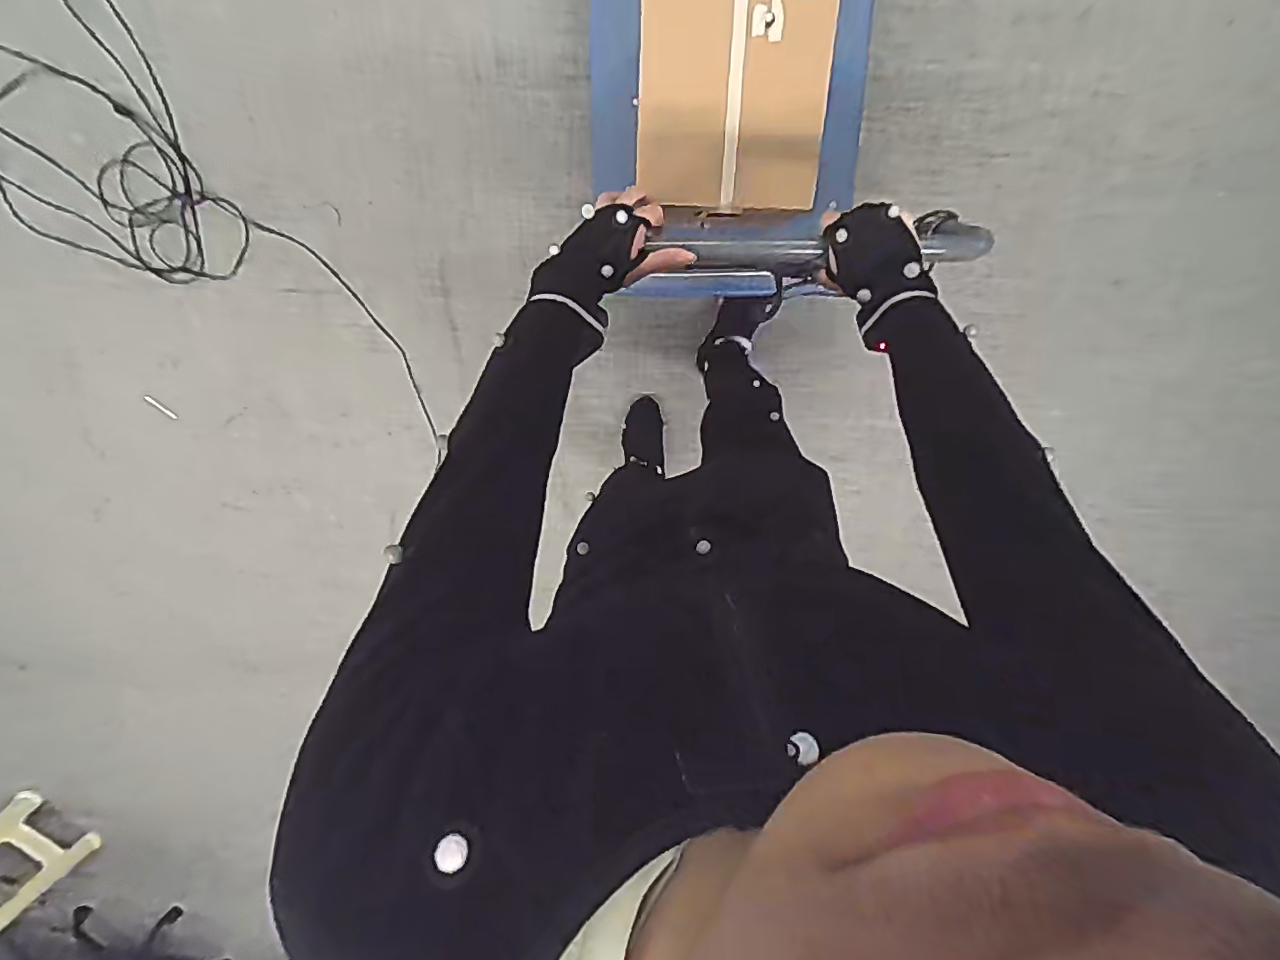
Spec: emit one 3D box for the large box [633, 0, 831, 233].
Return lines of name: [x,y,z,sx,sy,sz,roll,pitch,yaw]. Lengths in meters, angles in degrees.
large box: [0.153,-0.707,1.036,0.320,0.320,0.408,2,108,1]
